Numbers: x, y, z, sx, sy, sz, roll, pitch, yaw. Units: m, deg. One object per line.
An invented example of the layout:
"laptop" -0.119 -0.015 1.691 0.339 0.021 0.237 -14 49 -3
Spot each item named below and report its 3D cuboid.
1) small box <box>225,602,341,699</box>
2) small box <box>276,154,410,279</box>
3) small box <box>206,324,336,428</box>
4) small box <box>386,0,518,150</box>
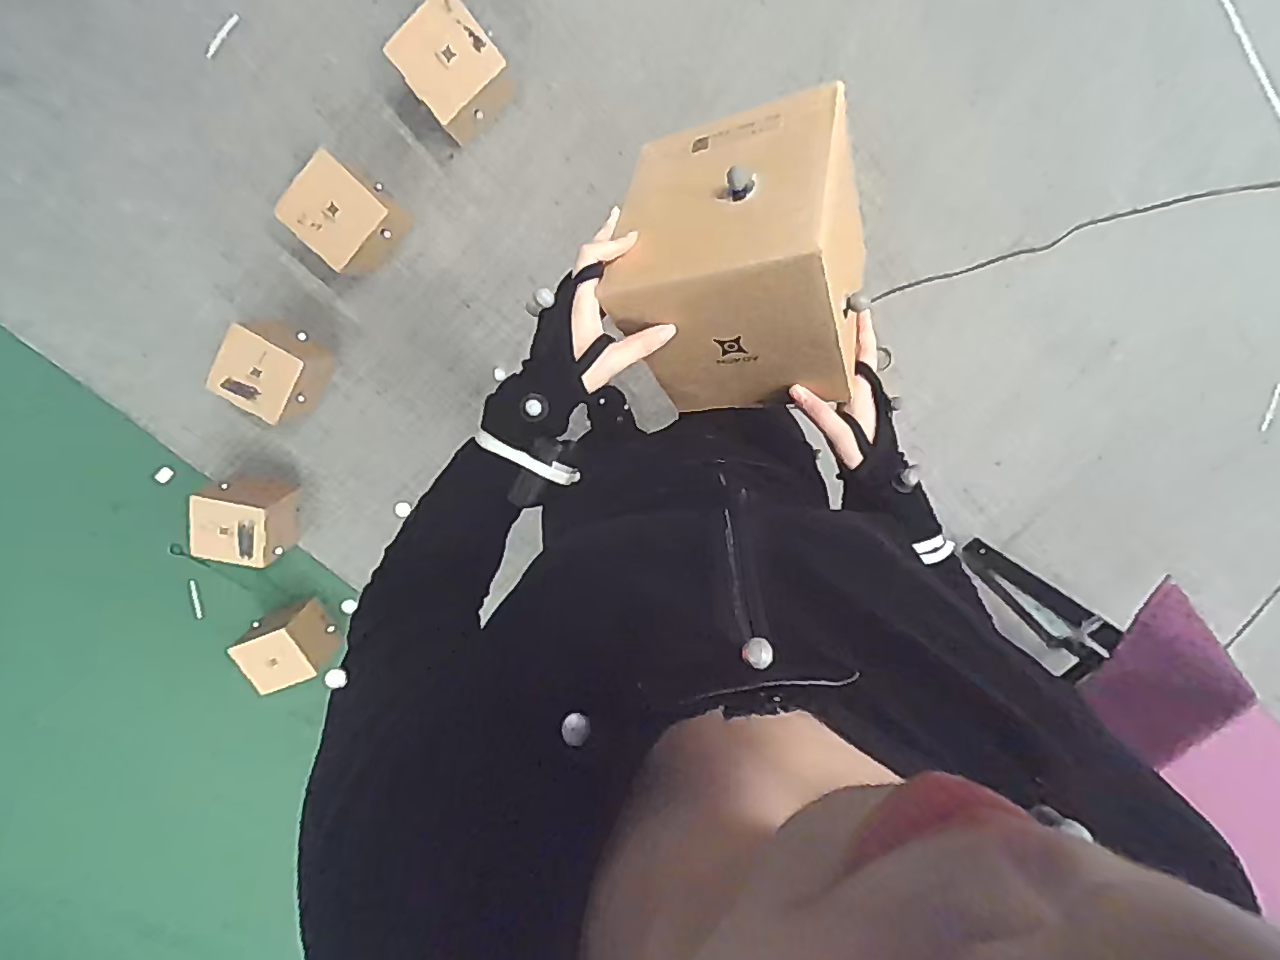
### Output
"small box" -0.985 0.471 1.510 0.179 0.176 0.168 -20 108 4
"small box" -0.638 -0.567 1.192 0.179 0.176 0.168 -43 104 10
"small box" -0.861 -0.251 1.281 0.168 0.176 0.179 32 103 -12
"small box" -0.378 -0.828 1.122 0.179 0.176 0.168 -38 106 9
